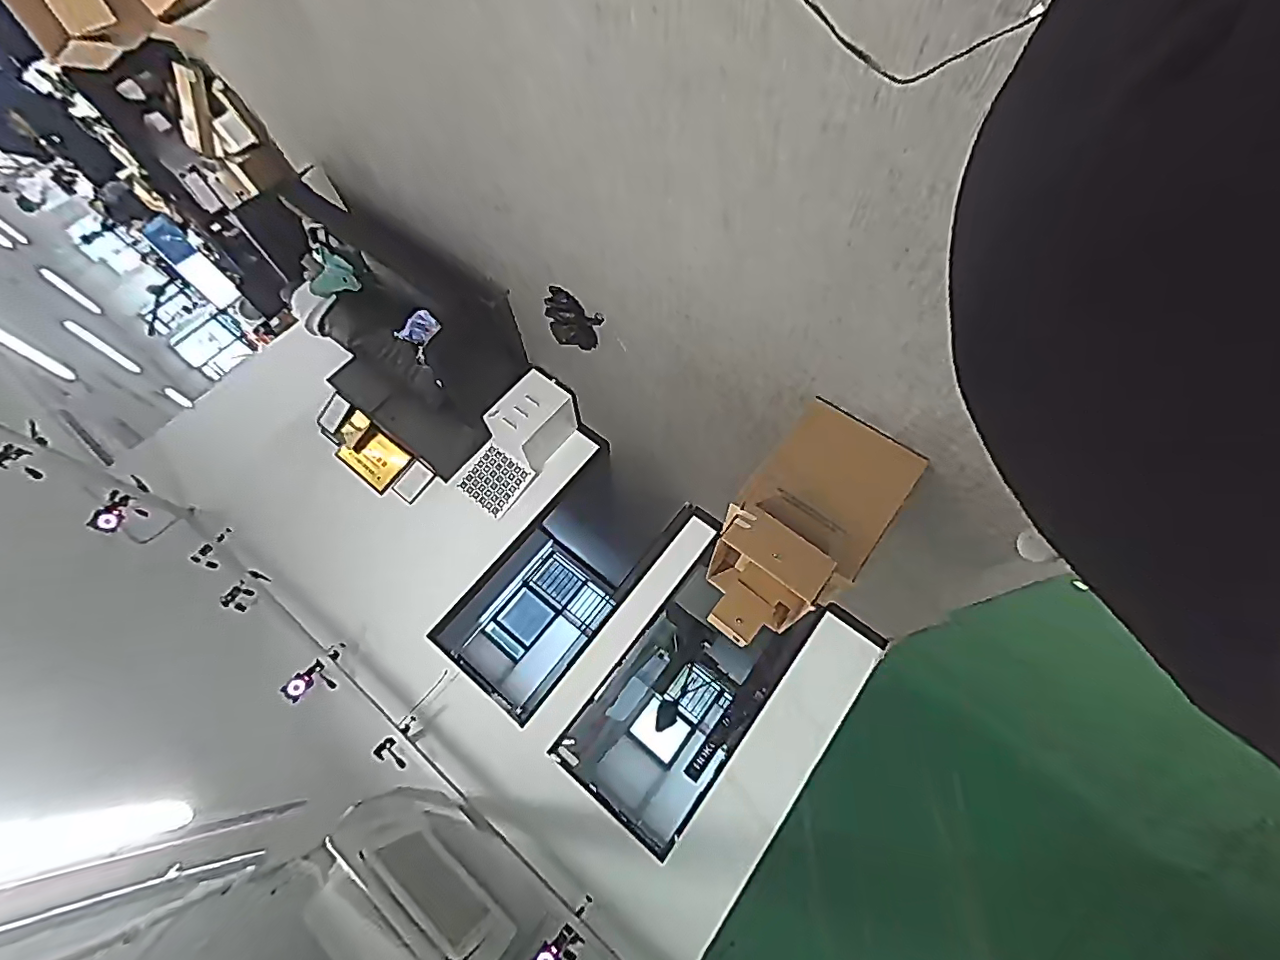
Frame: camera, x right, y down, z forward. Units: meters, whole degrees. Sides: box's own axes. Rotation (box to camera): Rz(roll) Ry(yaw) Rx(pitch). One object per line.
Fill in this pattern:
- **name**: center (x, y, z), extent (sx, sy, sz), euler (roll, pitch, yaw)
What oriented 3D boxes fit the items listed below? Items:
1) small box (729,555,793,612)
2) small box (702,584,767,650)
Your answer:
- **small box**: center (0.473, 0.416, 2.143), extent (0.179, 0.176, 0.168), euler (38, 164, 18)
- **small box**: center (0.366, 0.530, 2.092), extent (0.179, 0.176, 0.168), euler (39, 163, 15)
